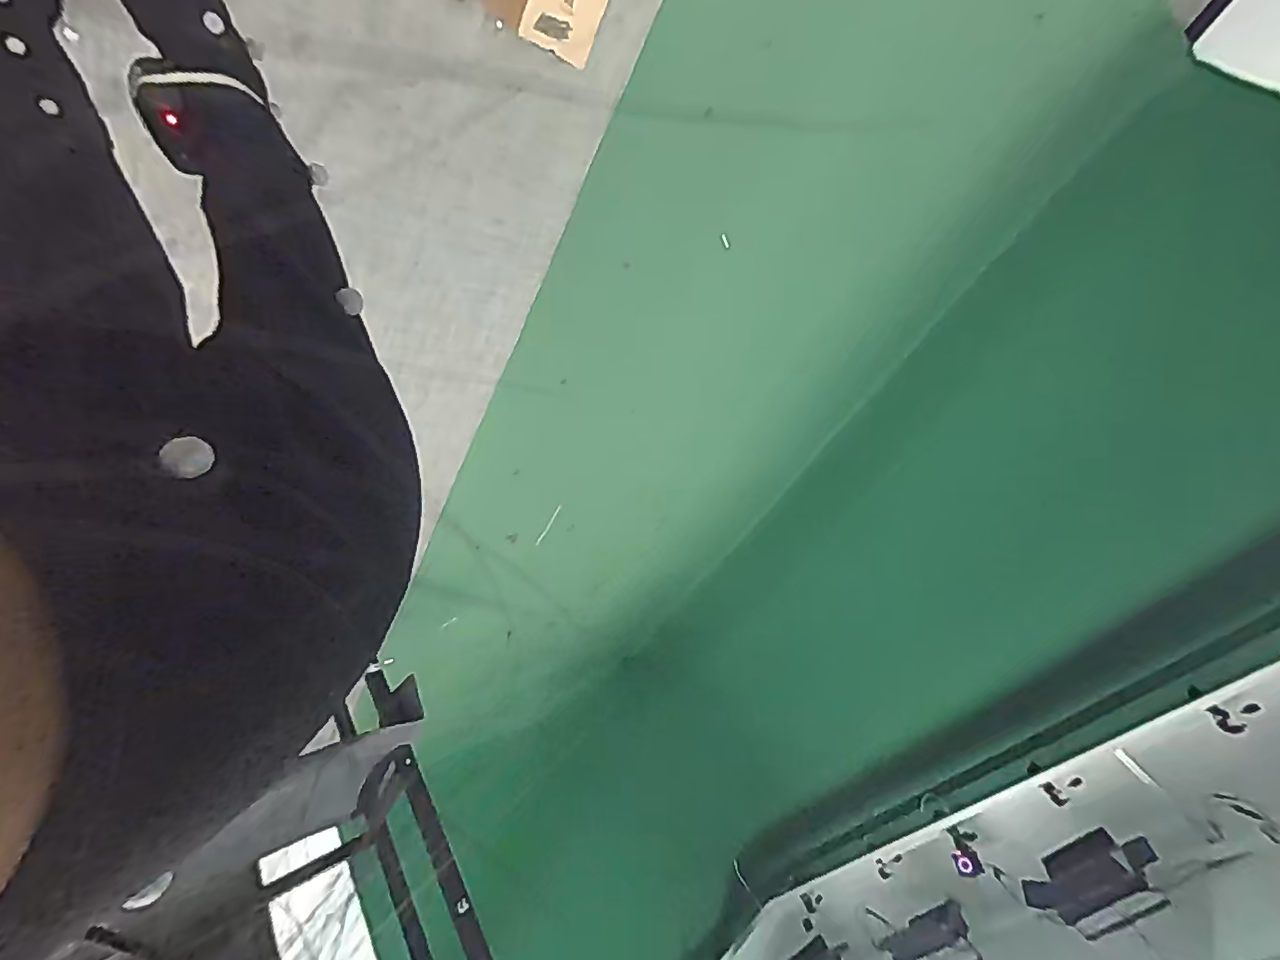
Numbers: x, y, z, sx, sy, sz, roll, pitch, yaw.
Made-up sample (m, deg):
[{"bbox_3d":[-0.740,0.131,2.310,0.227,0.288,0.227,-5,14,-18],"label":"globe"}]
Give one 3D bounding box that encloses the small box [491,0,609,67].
[{"bbox_3d":[-0.181,-0.982,1.074,0.168,0.176,0.179,-8,142,-45],"label":"small box"}]
